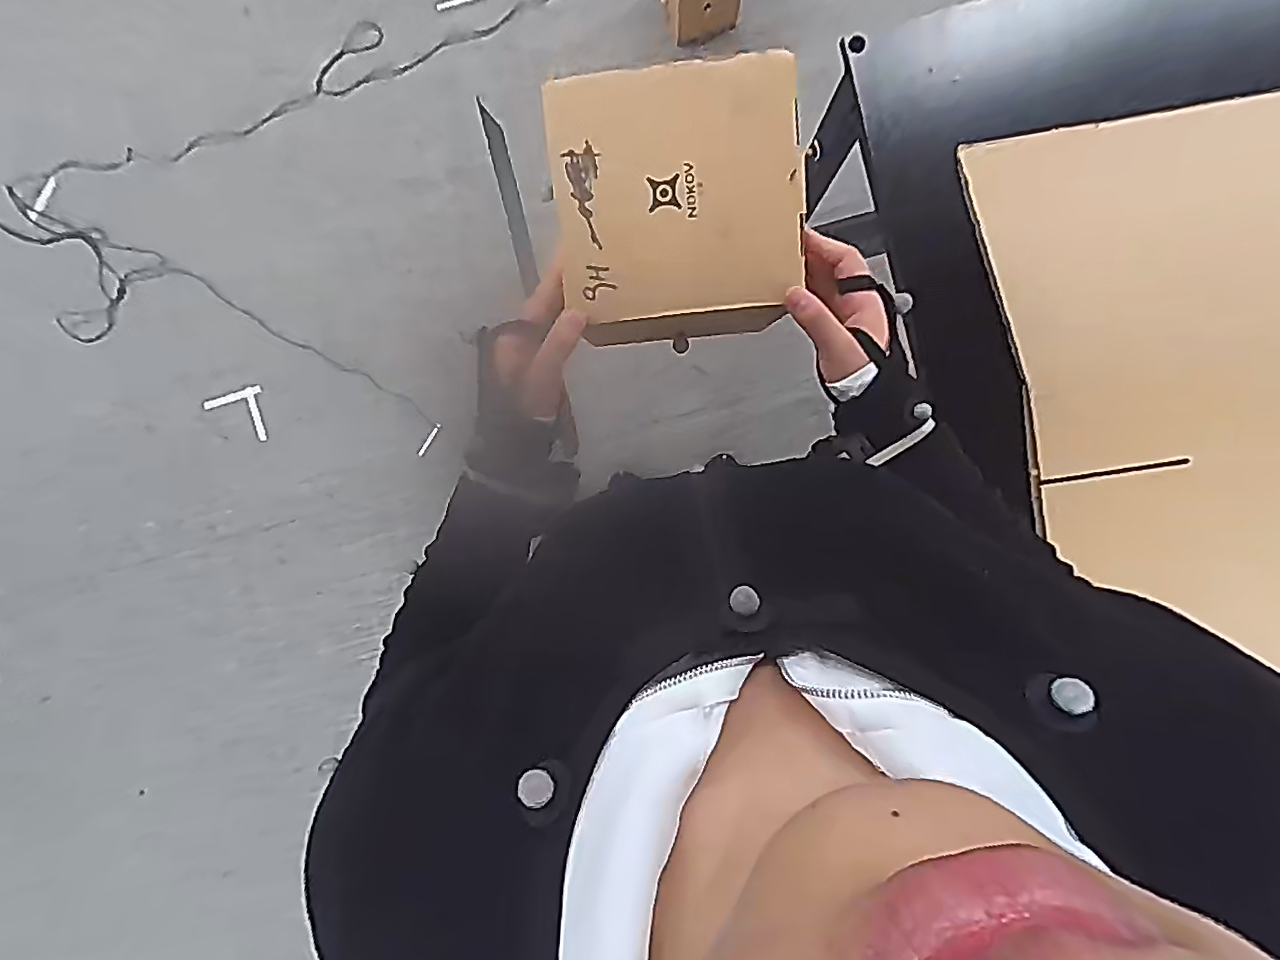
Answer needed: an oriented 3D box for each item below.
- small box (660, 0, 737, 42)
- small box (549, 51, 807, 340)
[{"bbox_3d":[0.150,-1.294,1.396,0.179,0.176,0.168,-18,91,3],"label":"small box"},{"bbox_3d":[0.029,-0.218,0.461,0.179,0.176,0.168,-5,97,1],"label":"small box"}]
